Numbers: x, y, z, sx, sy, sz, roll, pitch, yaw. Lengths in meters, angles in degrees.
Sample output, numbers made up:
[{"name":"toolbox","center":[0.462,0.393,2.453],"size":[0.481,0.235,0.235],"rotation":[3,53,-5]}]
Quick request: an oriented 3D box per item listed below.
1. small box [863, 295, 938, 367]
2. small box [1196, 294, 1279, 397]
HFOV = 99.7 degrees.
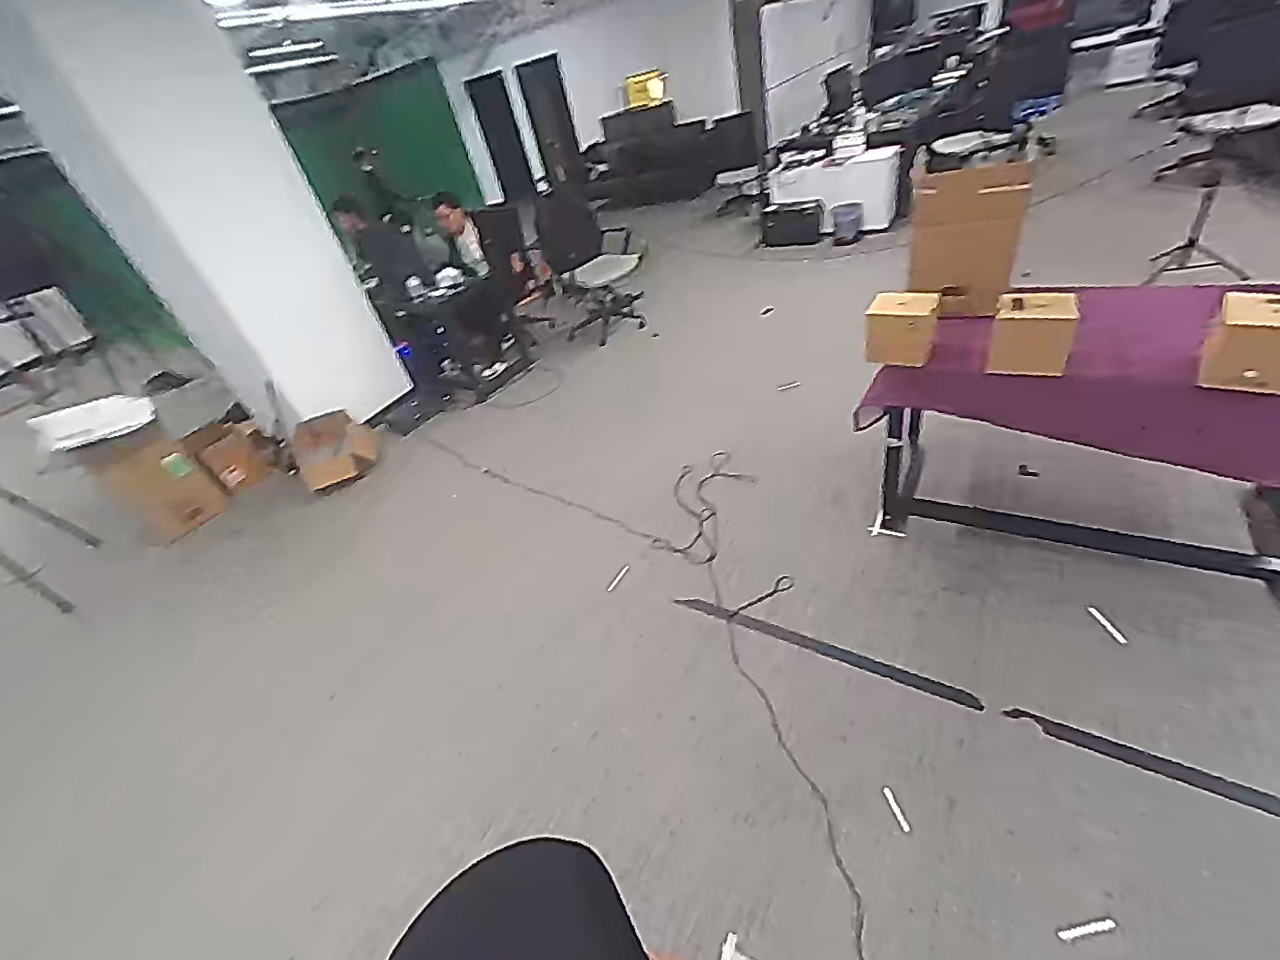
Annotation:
[{"name":"small box","center":[0.814,-0.469,1.699],"size":[0.179,0.176,0.168],"rotation":[14,45,32]},{"name":"small box","center":[1.456,-0.319,1.273],"size":[0.168,0.176,0.179],"rotation":[17,49,36]}]
